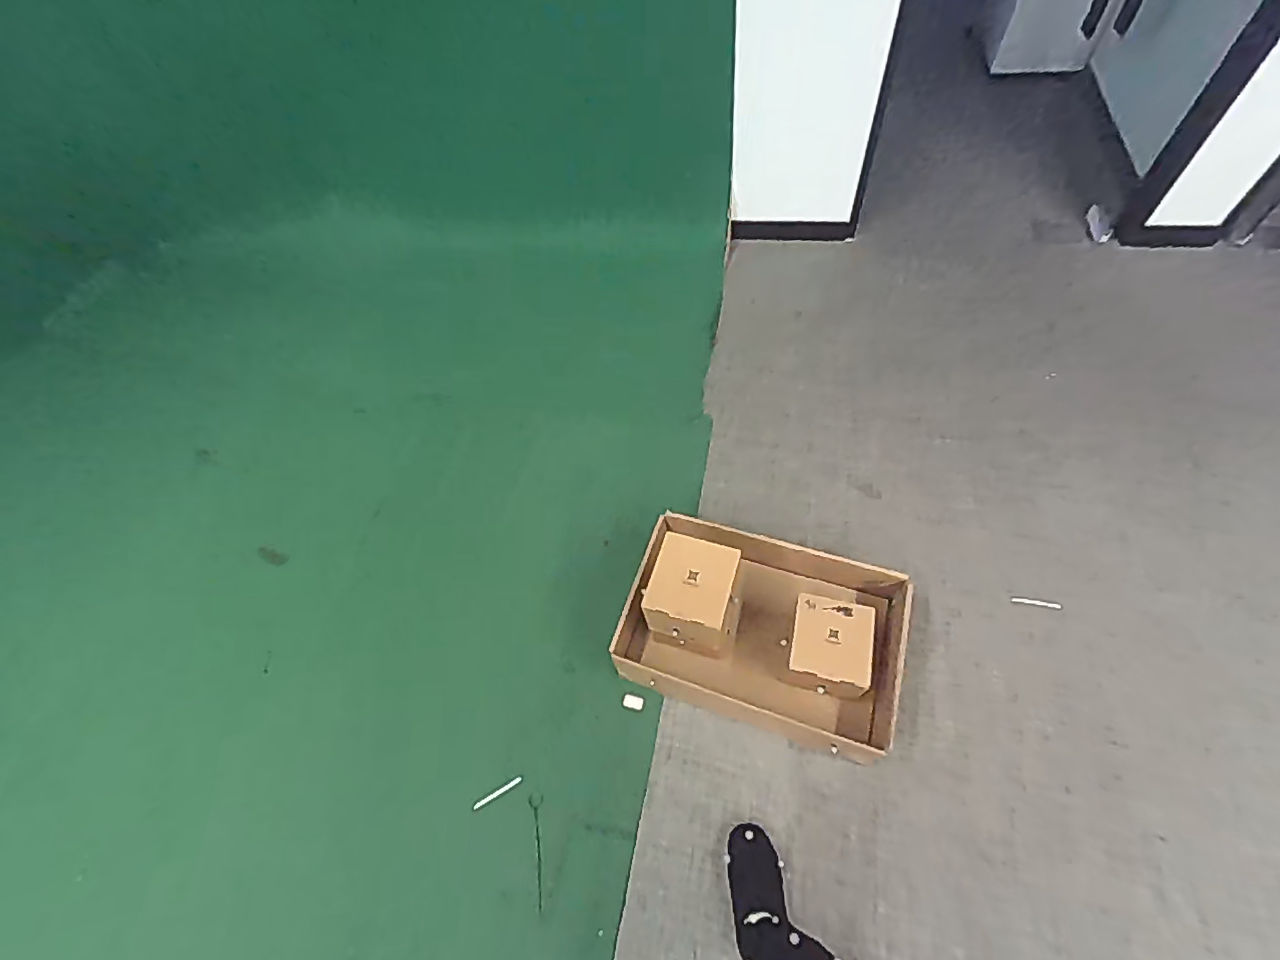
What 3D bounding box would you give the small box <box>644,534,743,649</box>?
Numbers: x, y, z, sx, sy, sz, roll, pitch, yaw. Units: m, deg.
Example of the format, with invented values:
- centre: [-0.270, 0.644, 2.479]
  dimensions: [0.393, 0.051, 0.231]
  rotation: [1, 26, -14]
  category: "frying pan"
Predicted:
- centre: [0.119, 0.245, 1.175]
  dimensions: [0.168, 0.176, 0.179]
  rotation: [14, 63, 15]
  category: "small box"
